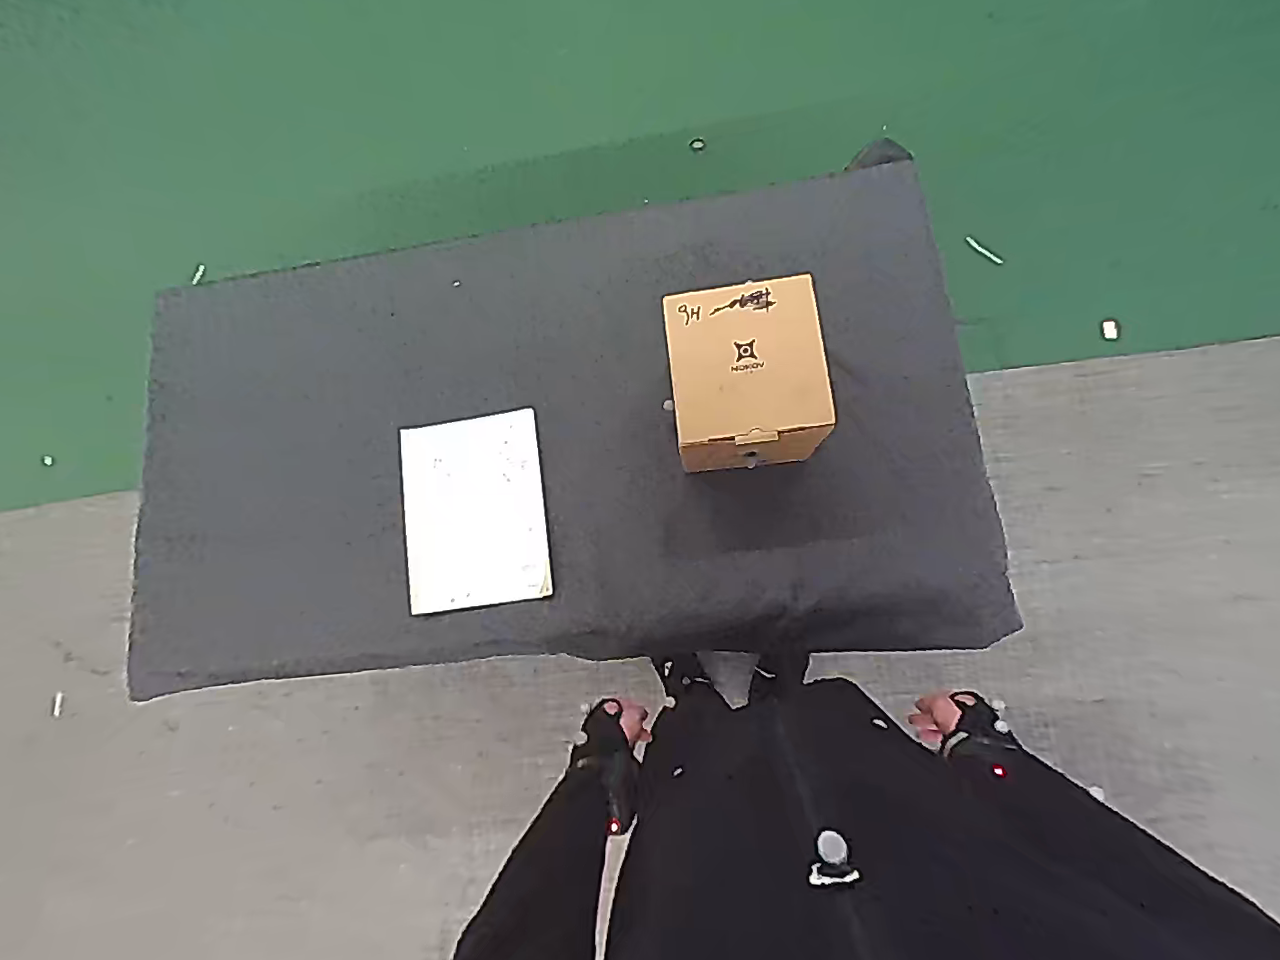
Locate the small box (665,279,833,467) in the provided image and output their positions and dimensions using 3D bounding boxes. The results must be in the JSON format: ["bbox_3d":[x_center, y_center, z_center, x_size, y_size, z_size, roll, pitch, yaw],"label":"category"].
[{"bbox_3d":[0.125,-0.115,0.663,0.168,0.176,0.179,-7,81,6],"label":"small box"}]
